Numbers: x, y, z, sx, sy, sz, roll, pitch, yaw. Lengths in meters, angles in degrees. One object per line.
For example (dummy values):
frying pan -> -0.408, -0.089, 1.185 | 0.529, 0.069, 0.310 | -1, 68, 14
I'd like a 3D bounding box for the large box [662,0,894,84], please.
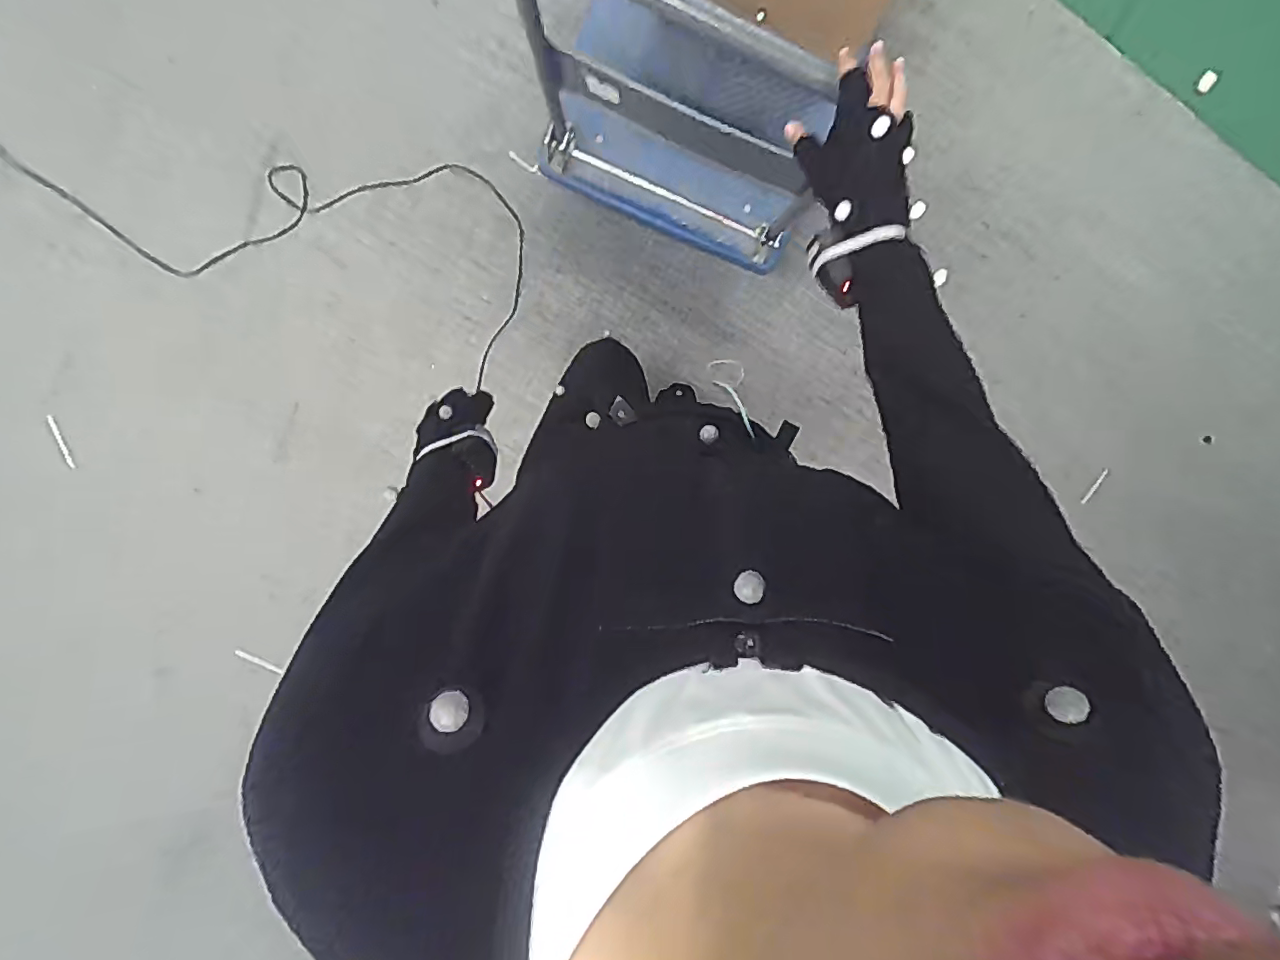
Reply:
large box -> 0.283, -1.015, 0.969 | 0.408, 0.320, 0.320 | 20, 98, -4
